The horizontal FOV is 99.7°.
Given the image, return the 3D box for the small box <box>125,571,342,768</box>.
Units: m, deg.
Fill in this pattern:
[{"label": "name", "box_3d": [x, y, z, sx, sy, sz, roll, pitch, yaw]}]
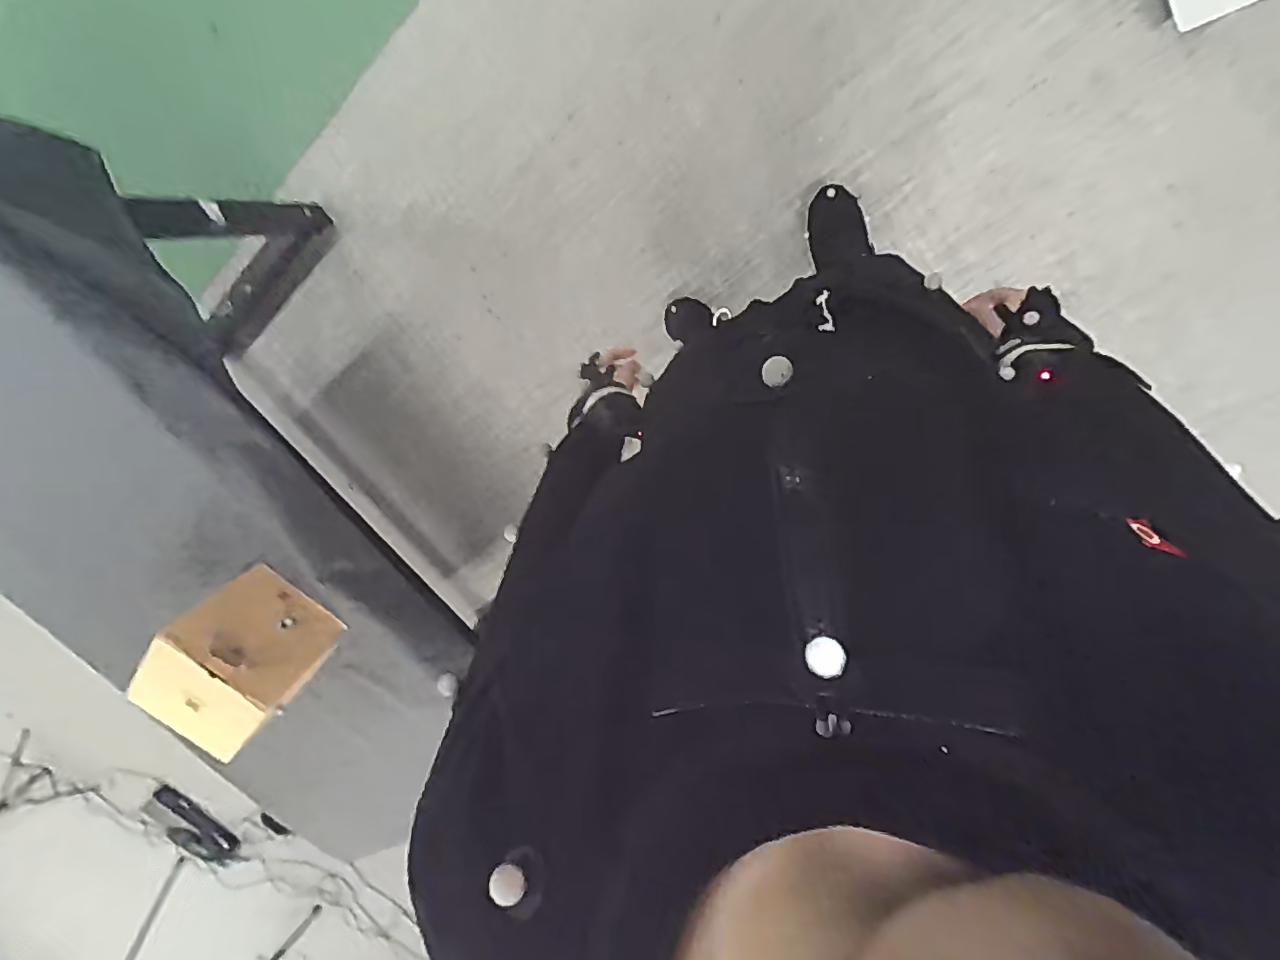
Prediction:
[{"label": "small box", "box_3d": [-0.581, 0.270, 0.791, 0.168, 0.176, 0.179, 41, 115, -9]}]
